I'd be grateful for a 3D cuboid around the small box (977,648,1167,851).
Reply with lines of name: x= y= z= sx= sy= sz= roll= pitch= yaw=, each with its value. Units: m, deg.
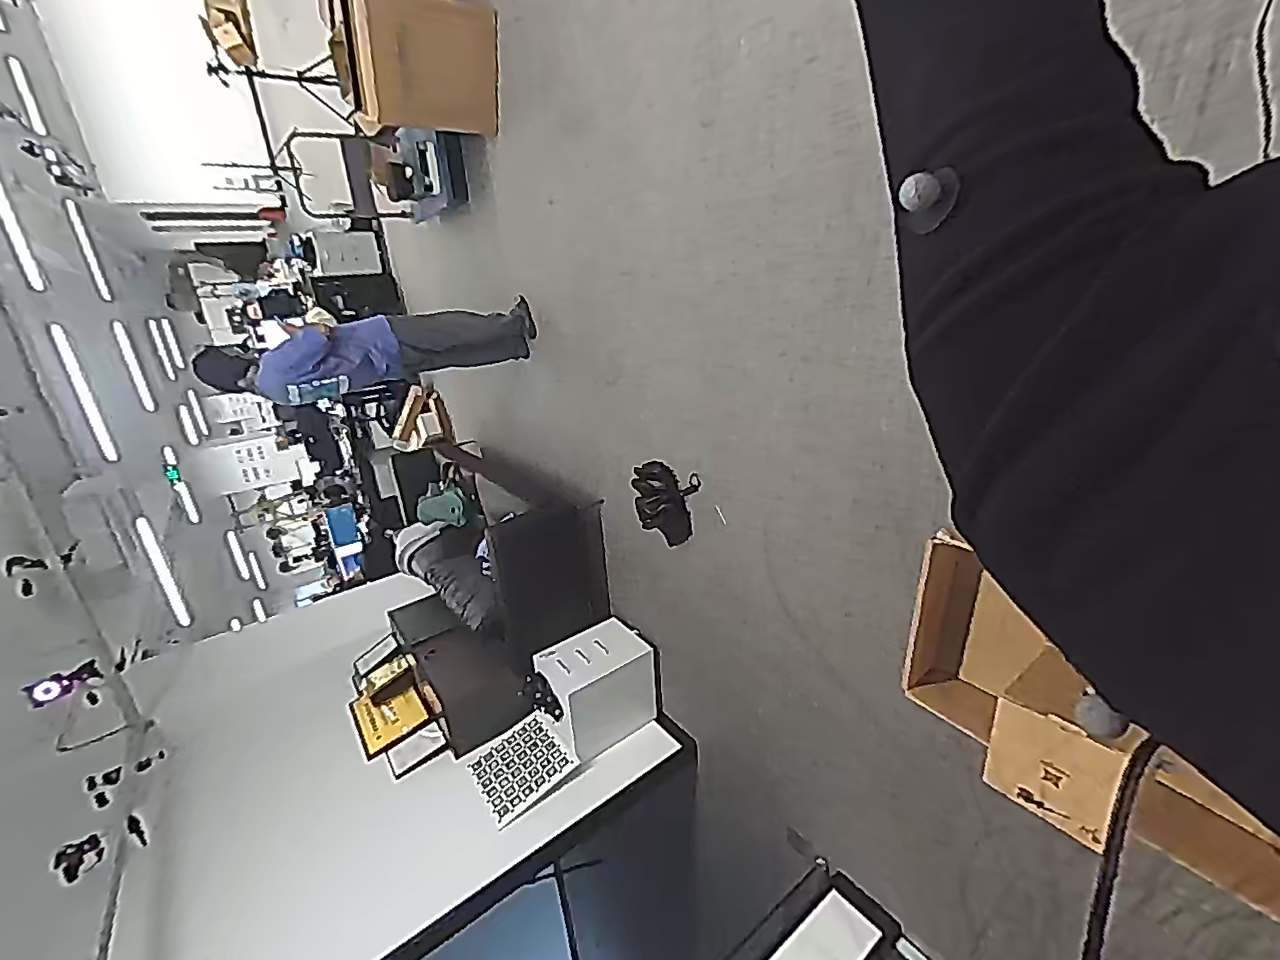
small box: x=0.641 y=0.384 z=0.806 sx=0.168 sy=0.176 sz=0.179 roll=24 pitch=124 yaw=50
